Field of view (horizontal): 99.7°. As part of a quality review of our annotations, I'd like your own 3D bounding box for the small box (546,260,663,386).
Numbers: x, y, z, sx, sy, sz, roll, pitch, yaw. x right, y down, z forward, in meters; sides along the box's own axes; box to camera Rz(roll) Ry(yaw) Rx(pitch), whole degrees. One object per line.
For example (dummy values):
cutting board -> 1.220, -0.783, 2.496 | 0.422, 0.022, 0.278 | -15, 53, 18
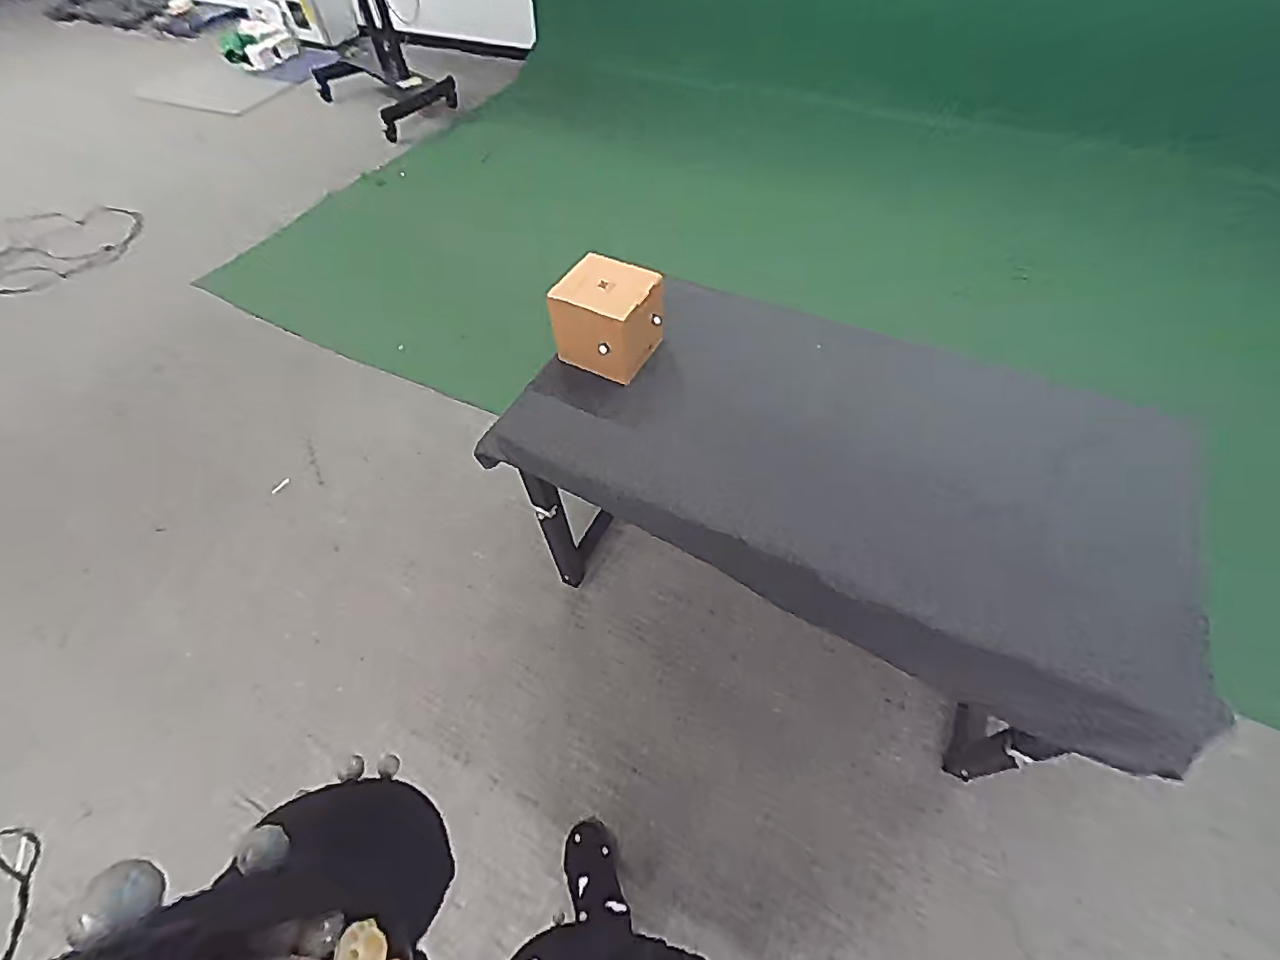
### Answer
small box -> -0.067, -0.321, 1.125 | 0.179, 0.176, 0.168 | 25, 57, 19
